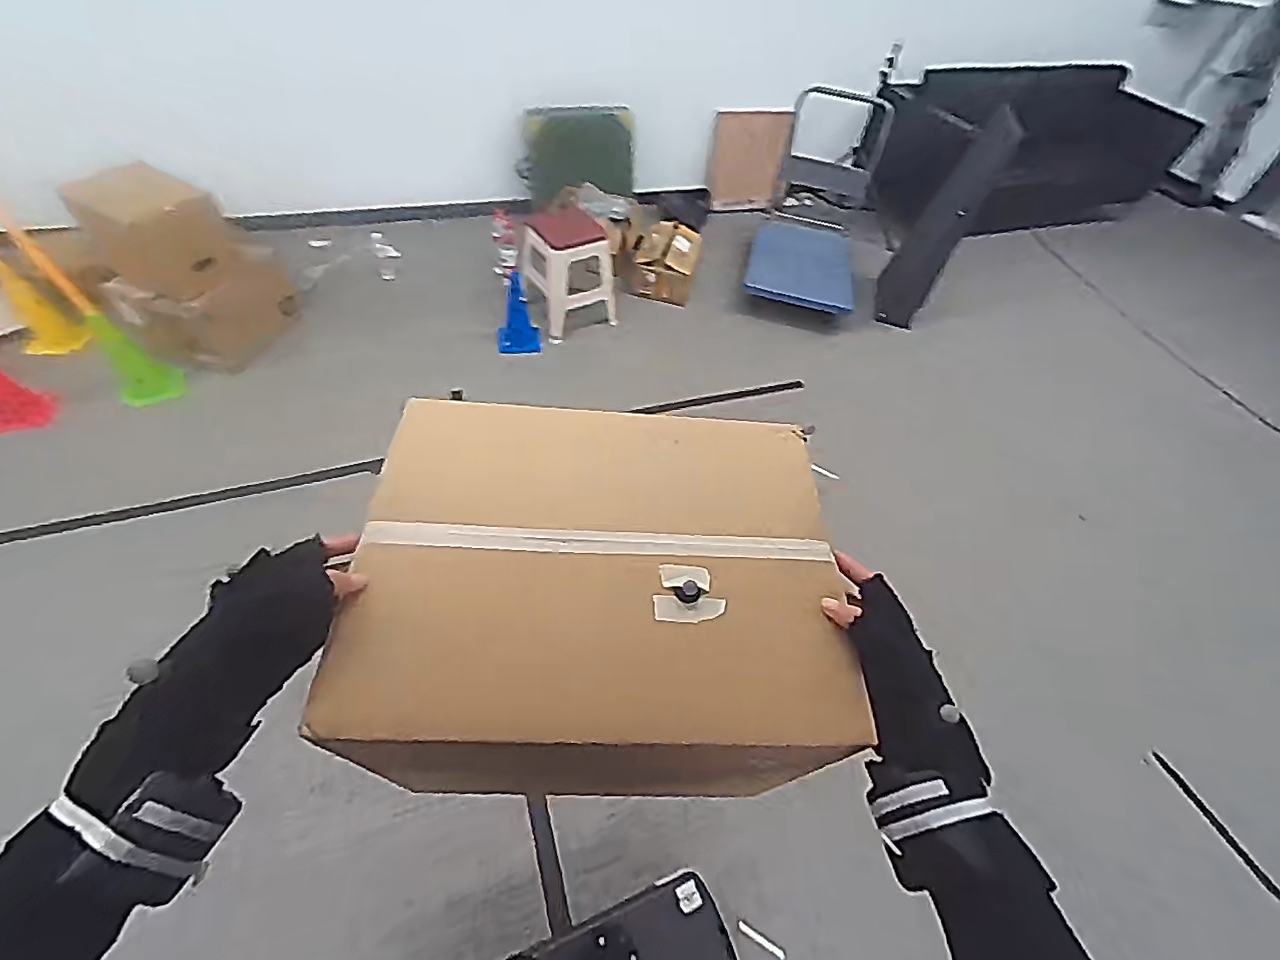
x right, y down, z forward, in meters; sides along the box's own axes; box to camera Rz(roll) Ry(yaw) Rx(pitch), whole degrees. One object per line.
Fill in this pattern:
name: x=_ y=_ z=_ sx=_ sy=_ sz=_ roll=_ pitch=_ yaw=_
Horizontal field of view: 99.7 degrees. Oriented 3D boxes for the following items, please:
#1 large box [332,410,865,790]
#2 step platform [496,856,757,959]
large box: x=-0.041 y=0.148 z=0.602 sx=0.408 sy=0.320 sz=0.320 roll=4 pitch=54 yaw=-5
step platform: x=-0.088 y=1.092 z=1.143 sx=0.684 sy=0.204 sz=0.286 roll=-14 pitch=54 yaw=-19
